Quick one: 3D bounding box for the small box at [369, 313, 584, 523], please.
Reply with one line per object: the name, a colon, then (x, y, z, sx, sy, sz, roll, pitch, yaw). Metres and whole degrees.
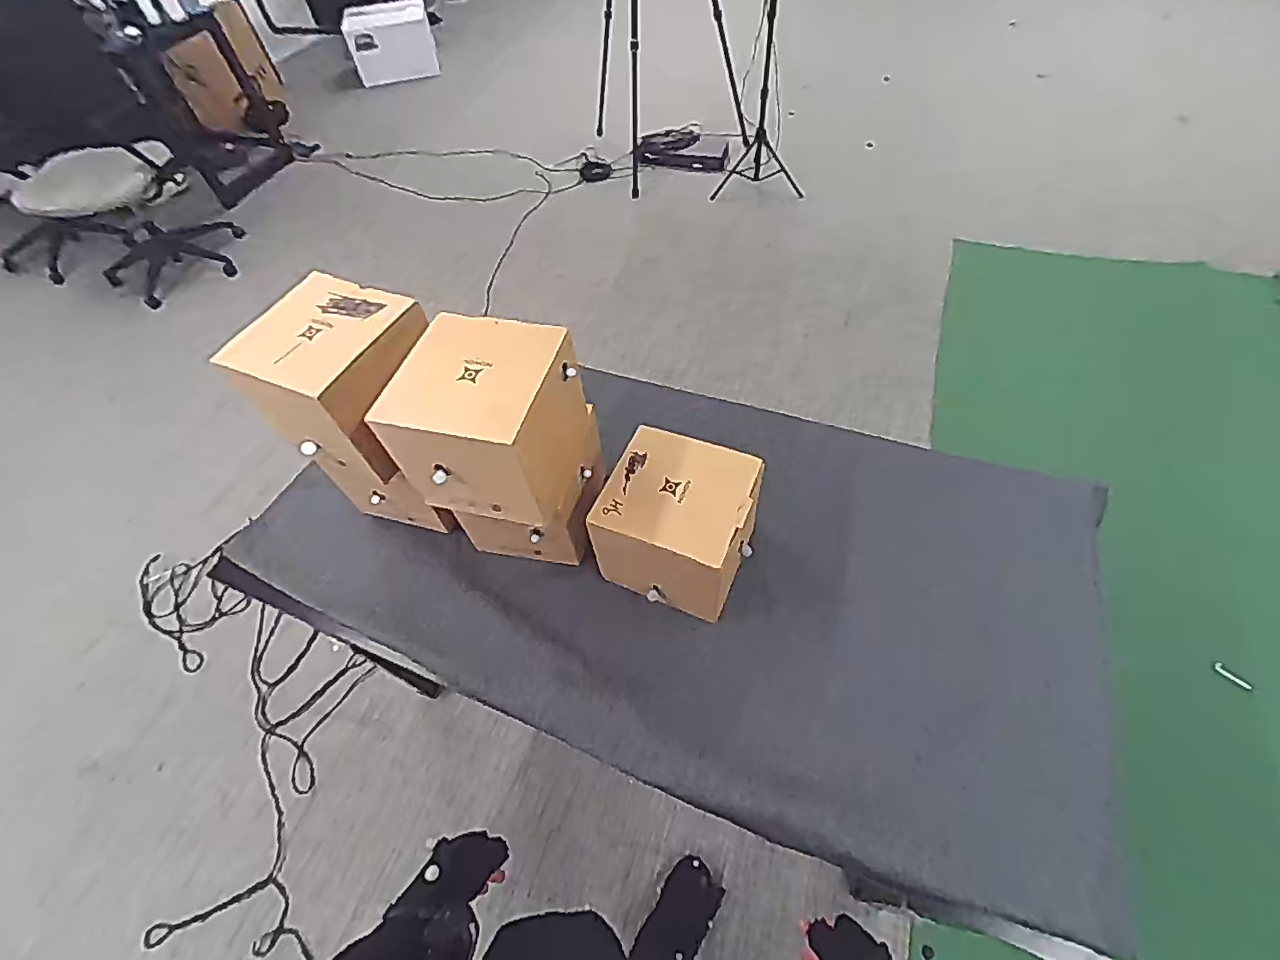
small box: (-0.174, -0.069, 0.644, 0.168, 0.176, 0.179, 10, 56, 10)
